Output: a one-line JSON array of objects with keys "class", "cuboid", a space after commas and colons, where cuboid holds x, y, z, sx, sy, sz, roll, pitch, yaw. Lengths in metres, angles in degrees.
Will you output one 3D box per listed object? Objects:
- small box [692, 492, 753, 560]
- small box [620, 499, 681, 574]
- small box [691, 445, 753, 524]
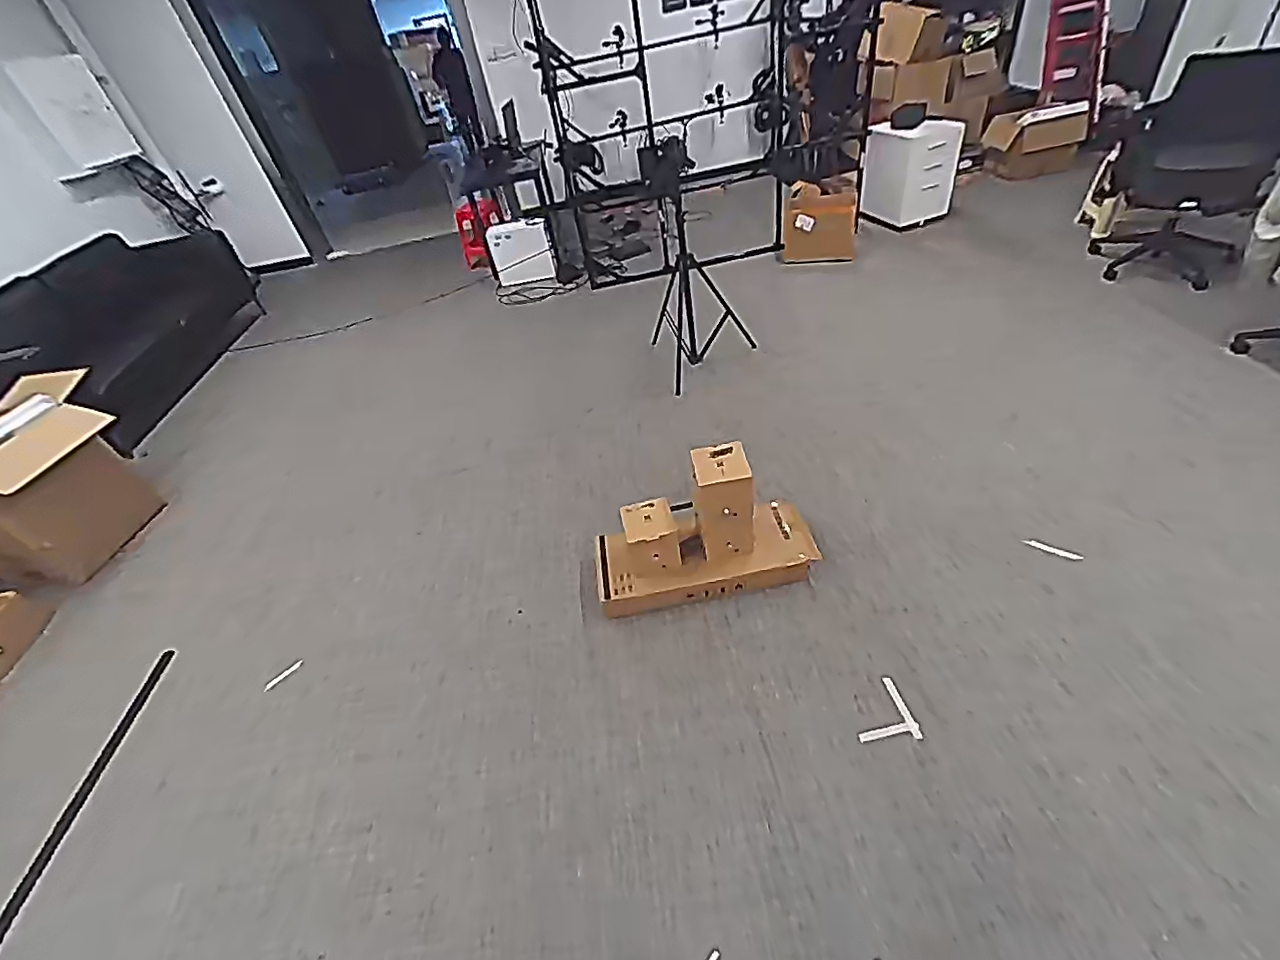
[{"class": "small box", "cuboid": [0.278, 0.141, 1.826, 0.168, 0.176, 0.179, -12, 40, 0]}, {"class": "small box", "cuboid": [0.037, 0.196, 1.821, 0.168, 0.176, 0.179, -13, 41, -2]}, {"class": "small box", "cuboid": [0.261, 0.015, 1.722, 0.168, 0.176, 0.179, -10, 40, 3]}]
